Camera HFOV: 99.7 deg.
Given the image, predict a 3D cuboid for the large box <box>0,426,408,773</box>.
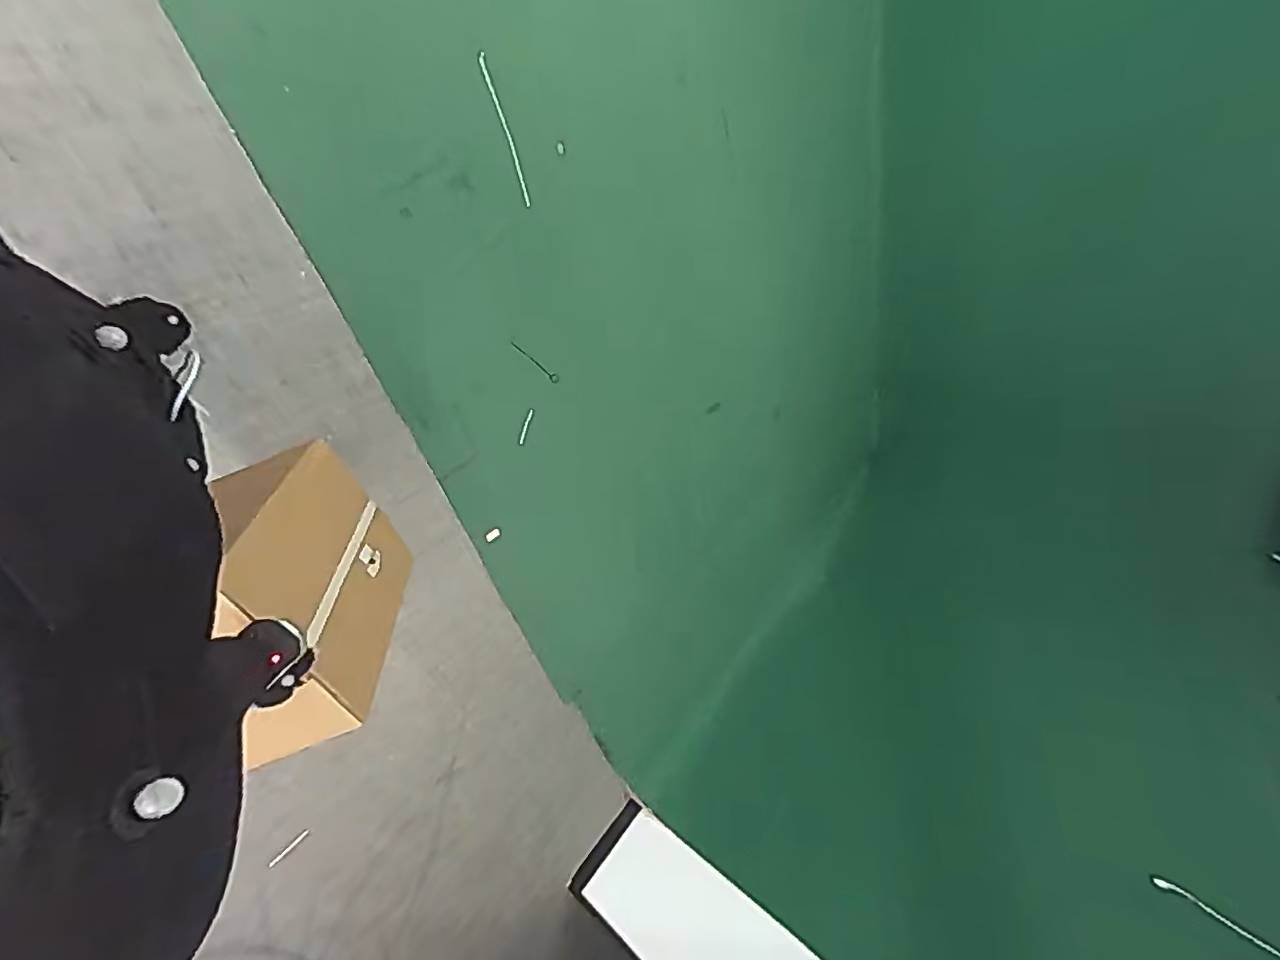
[{"bbox_3d":[-0.637,0.175,0.893,0.320,0.408,0.320,-21,122,0],"label":"large box"}]
